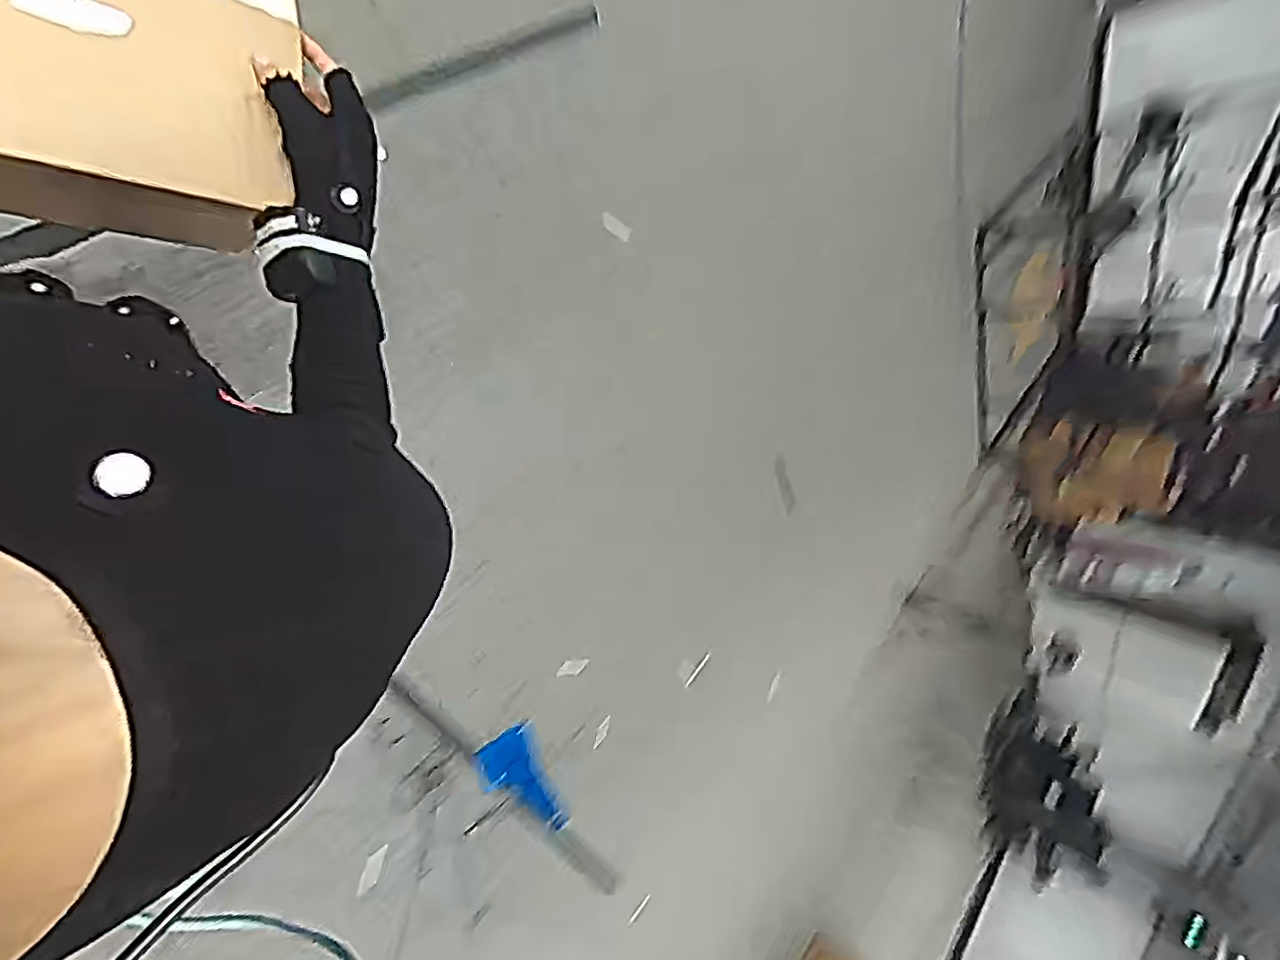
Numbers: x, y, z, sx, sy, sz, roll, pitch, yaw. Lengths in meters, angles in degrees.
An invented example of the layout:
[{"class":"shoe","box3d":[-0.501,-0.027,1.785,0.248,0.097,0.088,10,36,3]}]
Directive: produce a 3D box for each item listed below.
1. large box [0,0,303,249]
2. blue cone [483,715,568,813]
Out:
[{"class":"large box","box3d":[-0.536,-0.397,0.419,0.408,0.320,0.320,-5,105,-45]},{"class":"blue cone","box3d":[-0.358,0.998,1.829,0.193,0.380,0.192,-24,117,-36]}]
